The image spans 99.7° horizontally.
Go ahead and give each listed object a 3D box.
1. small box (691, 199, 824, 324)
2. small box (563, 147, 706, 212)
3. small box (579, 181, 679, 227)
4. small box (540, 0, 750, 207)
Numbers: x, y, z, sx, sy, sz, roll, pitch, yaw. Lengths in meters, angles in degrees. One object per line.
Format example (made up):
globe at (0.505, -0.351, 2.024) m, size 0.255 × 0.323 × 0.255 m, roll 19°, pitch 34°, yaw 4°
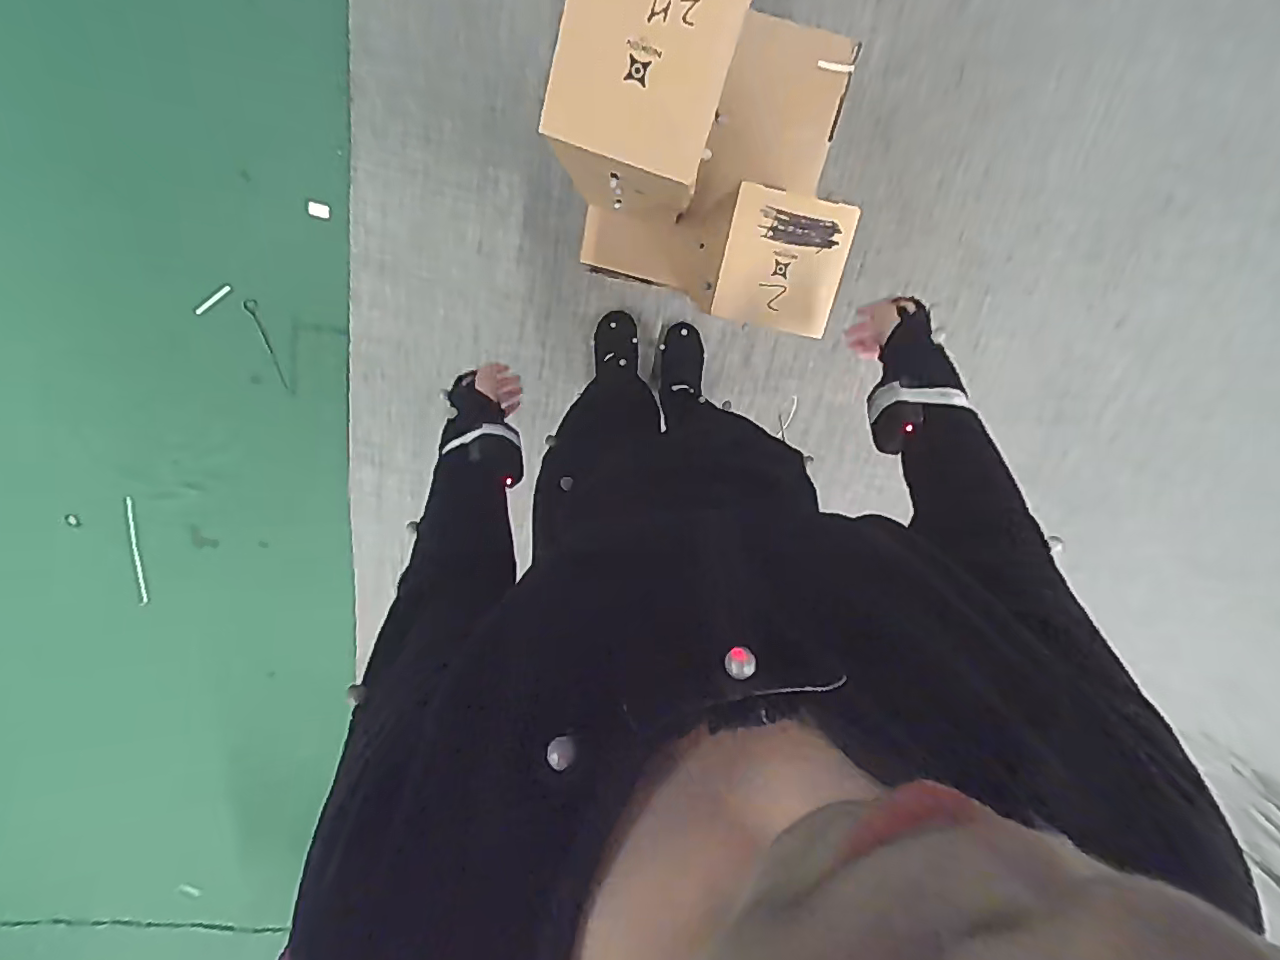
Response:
small box at (0.196, -0.382, 0.960) m, size 0.179 × 0.176 × 0.168 m, roll 10°, pitch 109°, yaw -3°
small box at (0.005, -0.484, 0.748) m, size 0.179 × 0.176 × 0.168 m, roll 12°, pitch 109°, yaw 0°
small box at (0.000, -0.544, 0.905) m, size 0.168 × 0.176 × 0.179 m, roll 12°, pitch 108°, yaw -3°
small box at (0.003, -0.424, 0.597) m, size 0.168 × 0.176 × 0.179 m, roll 17°, pitch 109°, yaw -5°
